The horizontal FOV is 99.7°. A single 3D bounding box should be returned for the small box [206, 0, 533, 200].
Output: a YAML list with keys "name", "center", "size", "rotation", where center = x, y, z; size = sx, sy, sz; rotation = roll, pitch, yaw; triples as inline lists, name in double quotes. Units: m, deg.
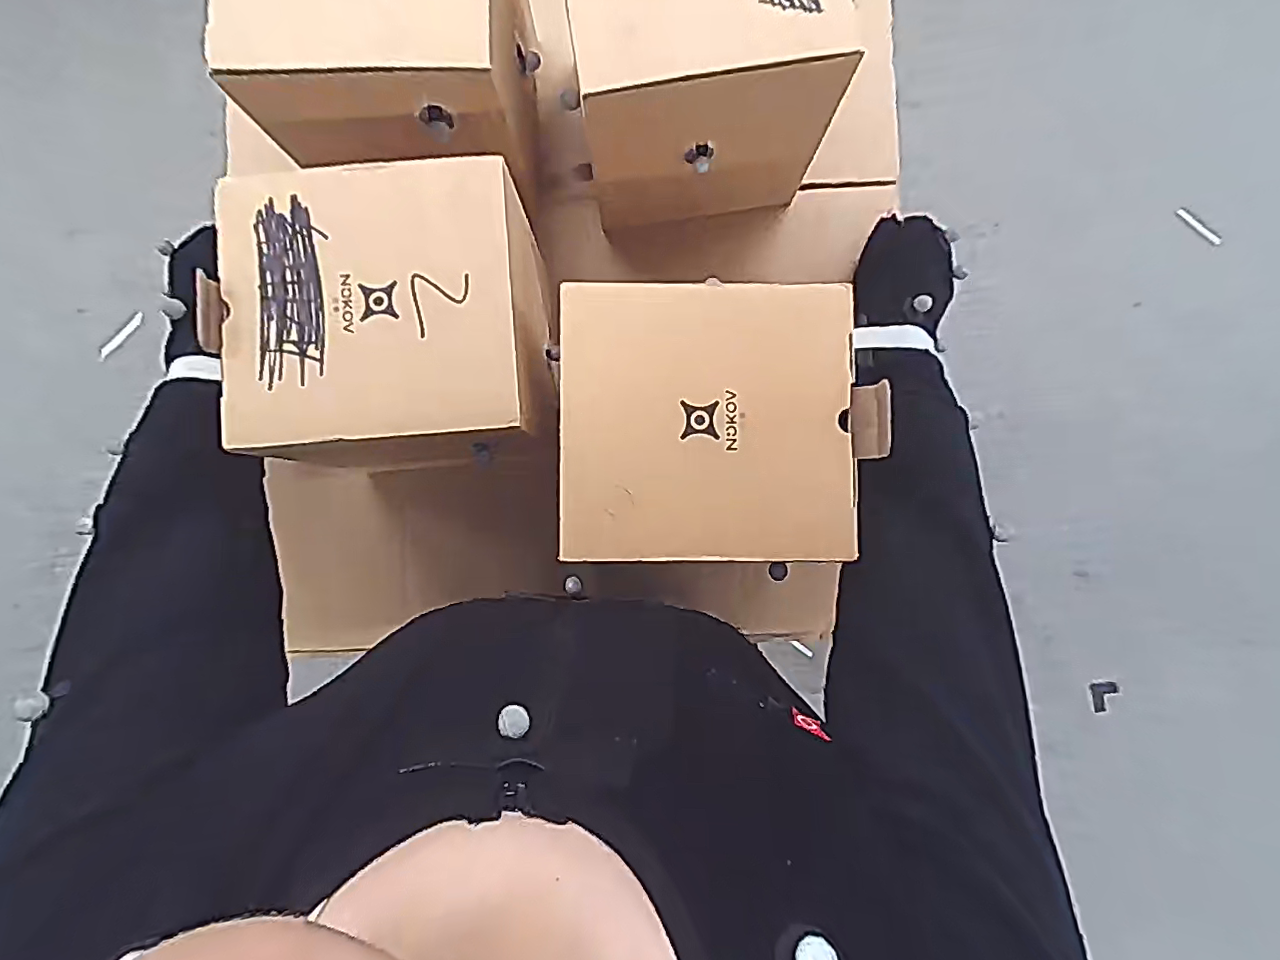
- name: "small box"
  center: [-0.182, -0.339, 0.417]
  size: [0.179, 0.176, 0.168]
  rotation: [0, 88, 1]
